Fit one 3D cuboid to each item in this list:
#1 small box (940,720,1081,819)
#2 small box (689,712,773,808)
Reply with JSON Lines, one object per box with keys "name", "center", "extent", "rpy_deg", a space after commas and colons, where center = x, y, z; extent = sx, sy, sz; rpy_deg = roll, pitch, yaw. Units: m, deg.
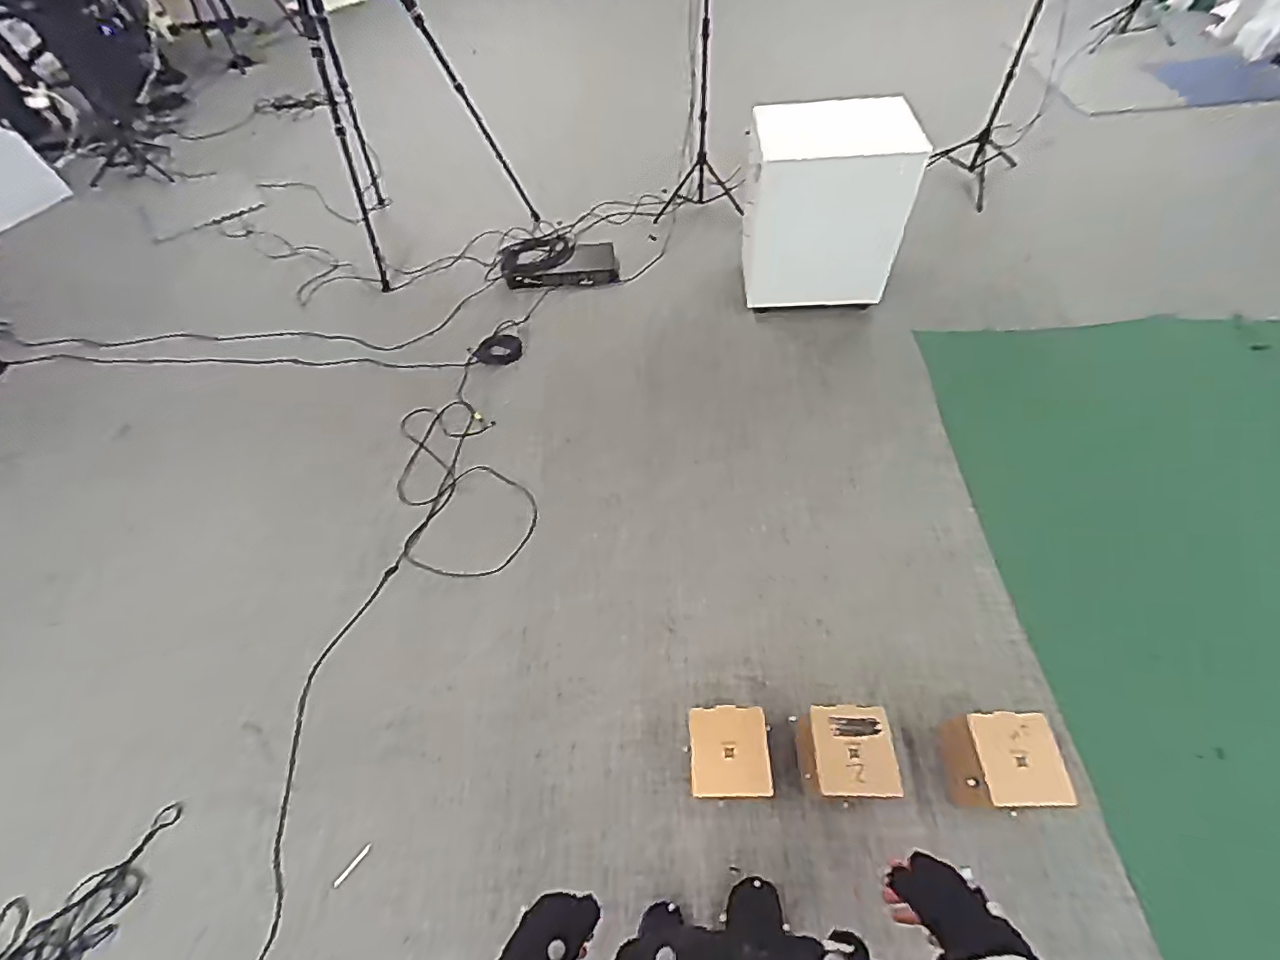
{"name": "small box", "center": [0.786, 0.628, 1.169], "extent": [0.168, 0.176, 0.179], "rpy_deg": [-2, 55, 3]}
{"name": "small box", "center": [0.197, 0.630, 1.212], "extent": [0.168, 0.176, 0.179], "rpy_deg": [-2, 55, 3]}
